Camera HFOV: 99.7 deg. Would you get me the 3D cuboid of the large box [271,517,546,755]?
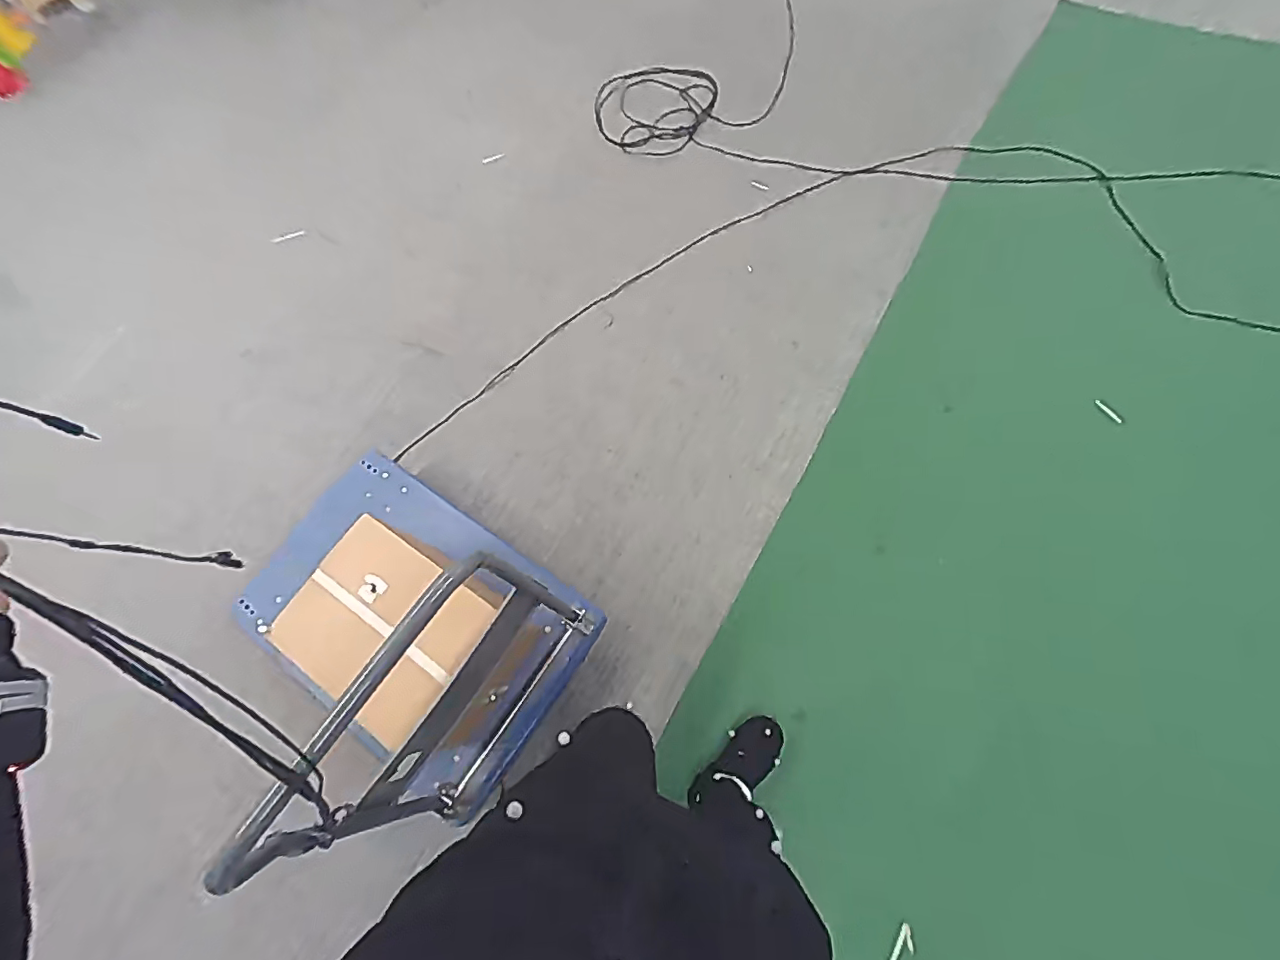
[{"bbox_3d":[-0.489,0.345,1.215,0.408,0.320,0.320,30,75,18],"label":"large box"}]
